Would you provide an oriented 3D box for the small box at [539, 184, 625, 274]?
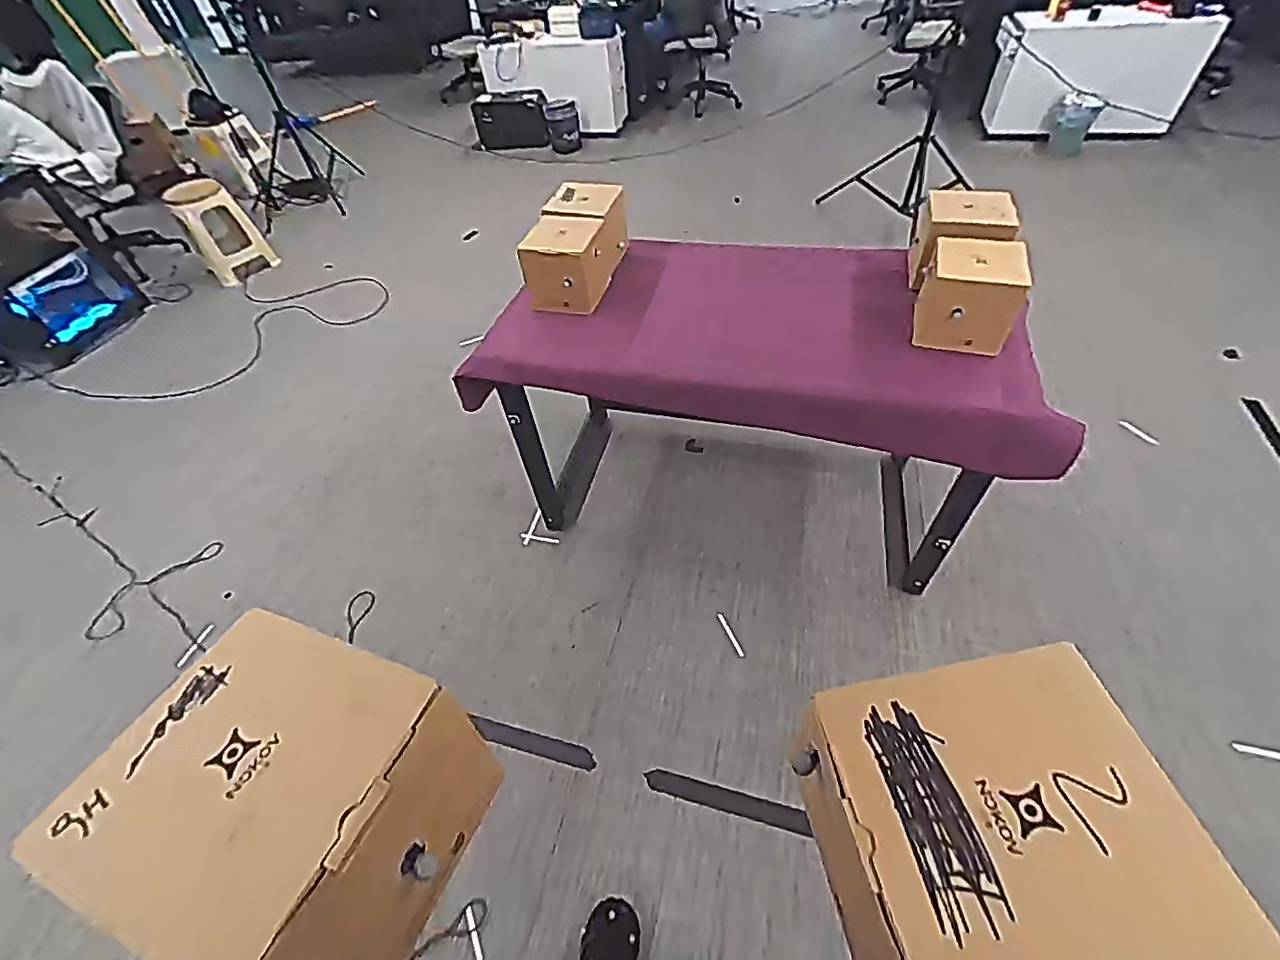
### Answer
[{"bbox_3d":[-0.150,-0.683,1.476,0.179,0.176,0.168,11,54,13],"label":"small box"}]

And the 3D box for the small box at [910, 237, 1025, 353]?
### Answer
[{"bbox_3d":[0.688,-0.393,1.152,0.168,0.176,0.179,12,51,17],"label":"small box"}]

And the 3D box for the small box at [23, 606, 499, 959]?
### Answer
[{"bbox_3d":[-0.224,0.222,0.377,0.179,0.176,0.168,14,47,17],"label":"small box"}]

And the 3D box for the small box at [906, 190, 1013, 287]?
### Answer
[{"bbox_3d":[0.744,-0.565,1.283,0.179,0.176,0.168,10,53,13],"label":"small box"}]
